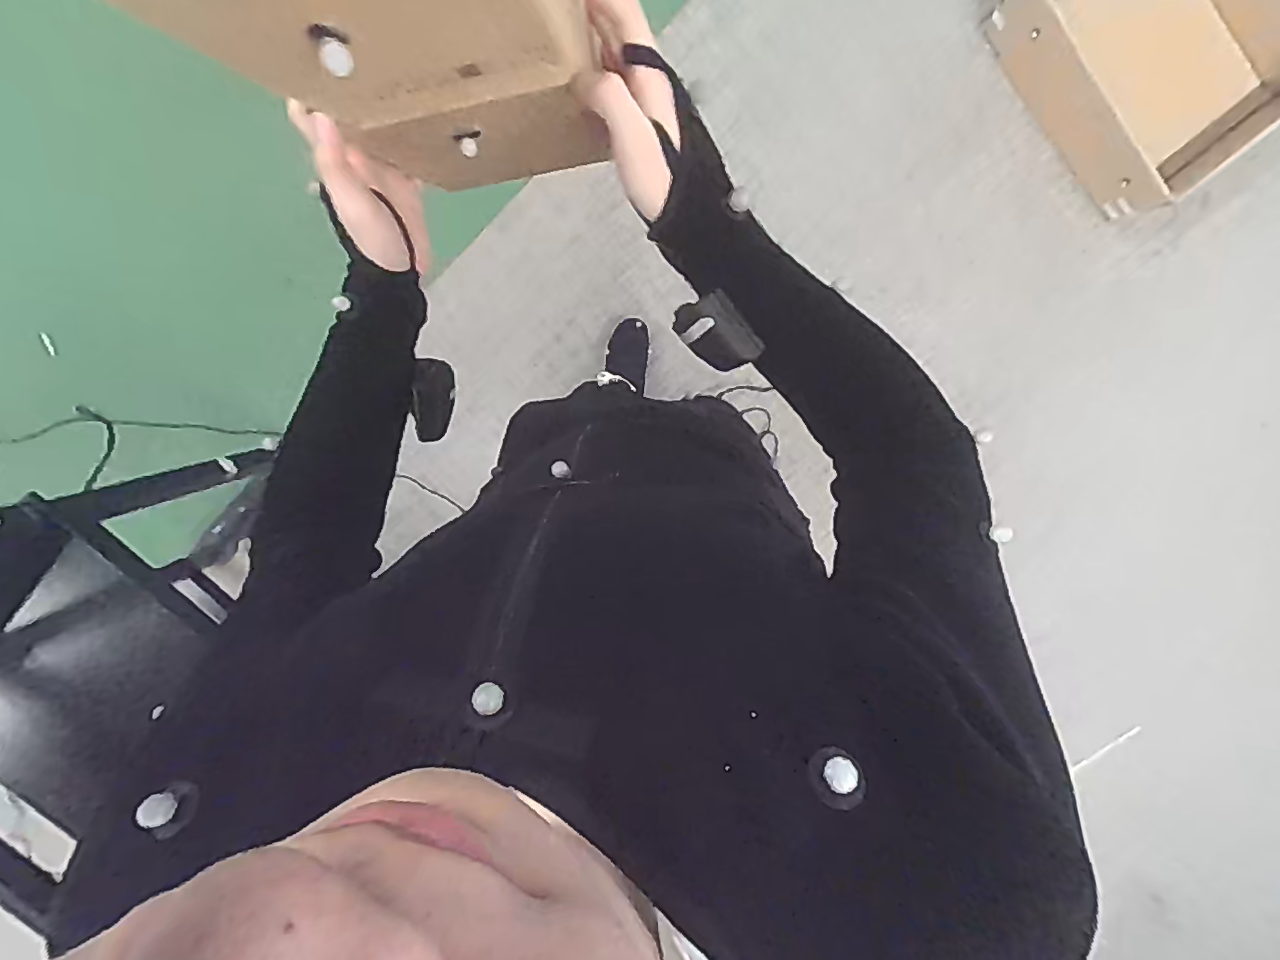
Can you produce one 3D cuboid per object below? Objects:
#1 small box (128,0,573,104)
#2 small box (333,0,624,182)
[{"bbox_3d":[-0.138,-0.308,0.254,0.168,0.176,0.179,-5,105,9],"label":"small box"},{"bbox_3d":[-0.118,-0.345,0.410,0.179,0.176,0.168,-5,105,8],"label":"small box"}]
